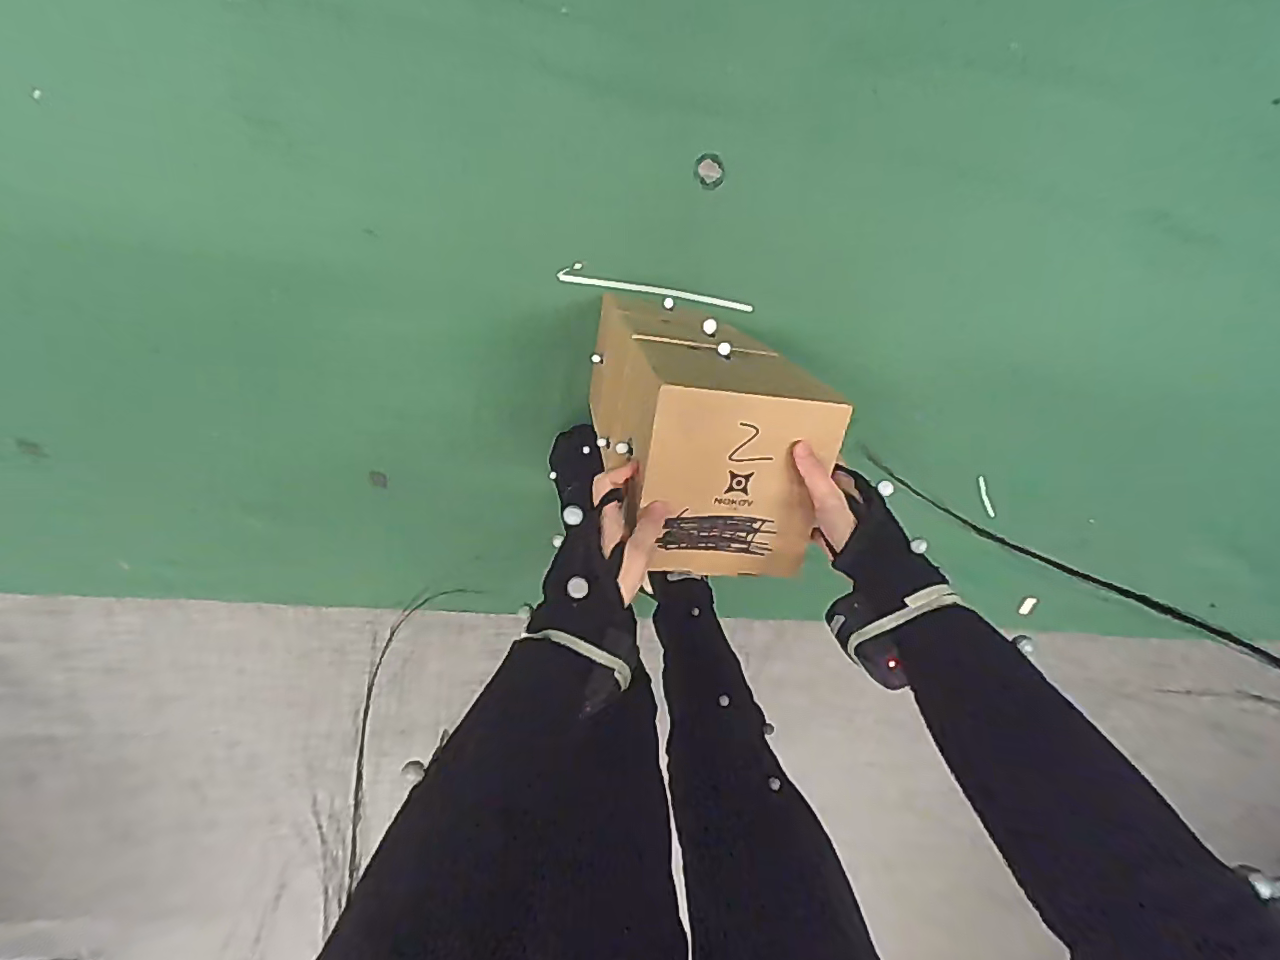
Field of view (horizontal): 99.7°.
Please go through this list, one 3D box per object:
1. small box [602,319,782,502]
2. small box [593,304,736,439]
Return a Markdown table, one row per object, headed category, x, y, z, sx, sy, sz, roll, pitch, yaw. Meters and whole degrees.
| category | x | y | z | sx | sy | sz | roll | pitch | yaw |
| --- | --- | --- | --- | --- | --- | --- | --- | --- | --- |
| small box | 0.050 | -0.093 | 0.675 | 0.168 | 0.176 | 0.179 | 6 | 114 | -12 |
| small box | 0.025 | -0.160 | 0.821 | 0.168 | 0.176 | 0.179 | 8 | 113 | -12 |
